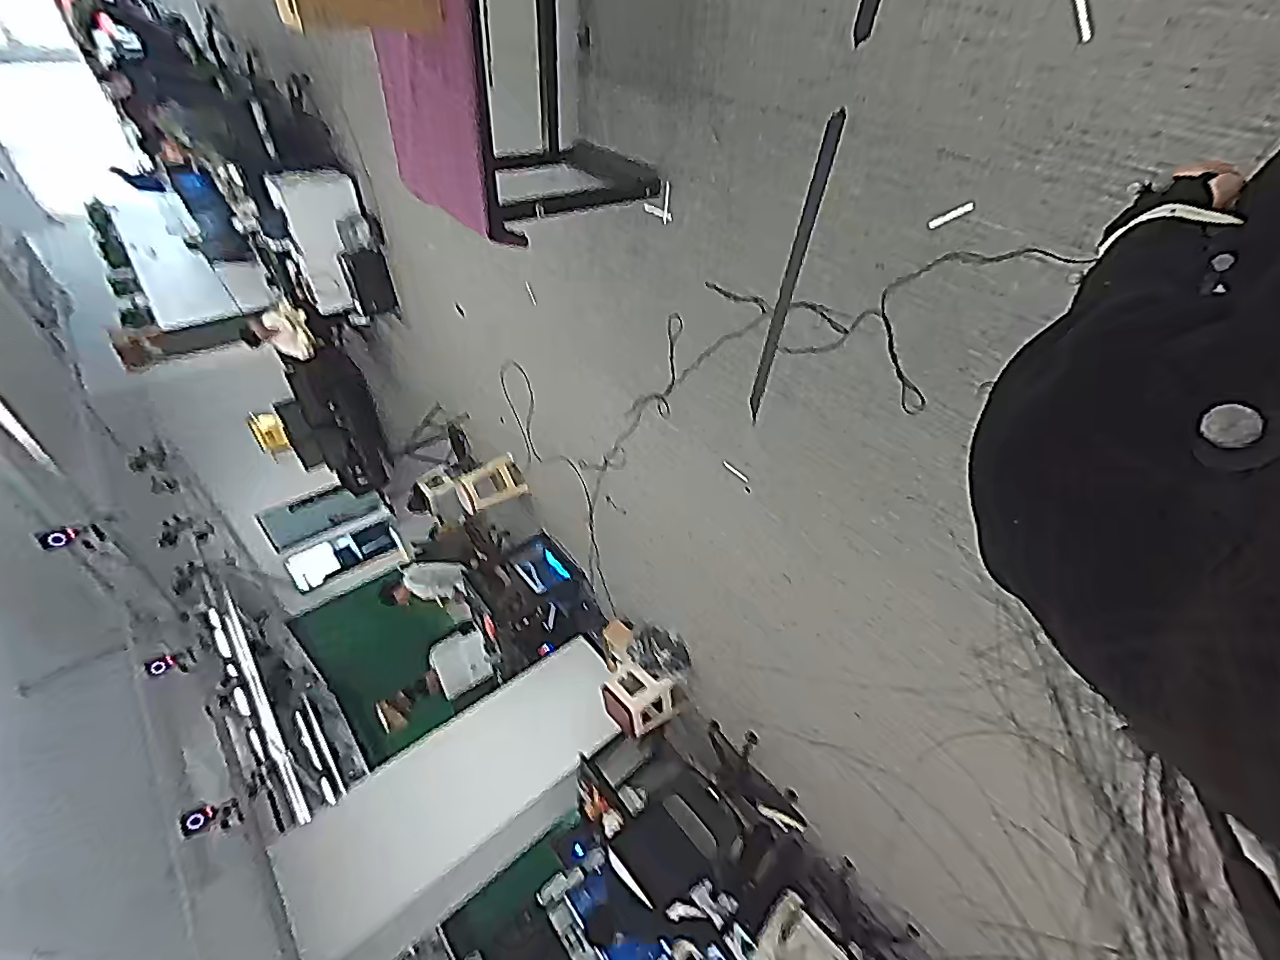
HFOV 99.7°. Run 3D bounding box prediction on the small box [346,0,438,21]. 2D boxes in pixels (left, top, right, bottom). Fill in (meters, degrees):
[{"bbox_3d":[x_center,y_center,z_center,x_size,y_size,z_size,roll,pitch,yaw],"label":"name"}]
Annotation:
[{"bbox_3d":[-0.606,-1.219,1.293,0.179,0.176,0.168,43,145,30],"label":"small box"}]
